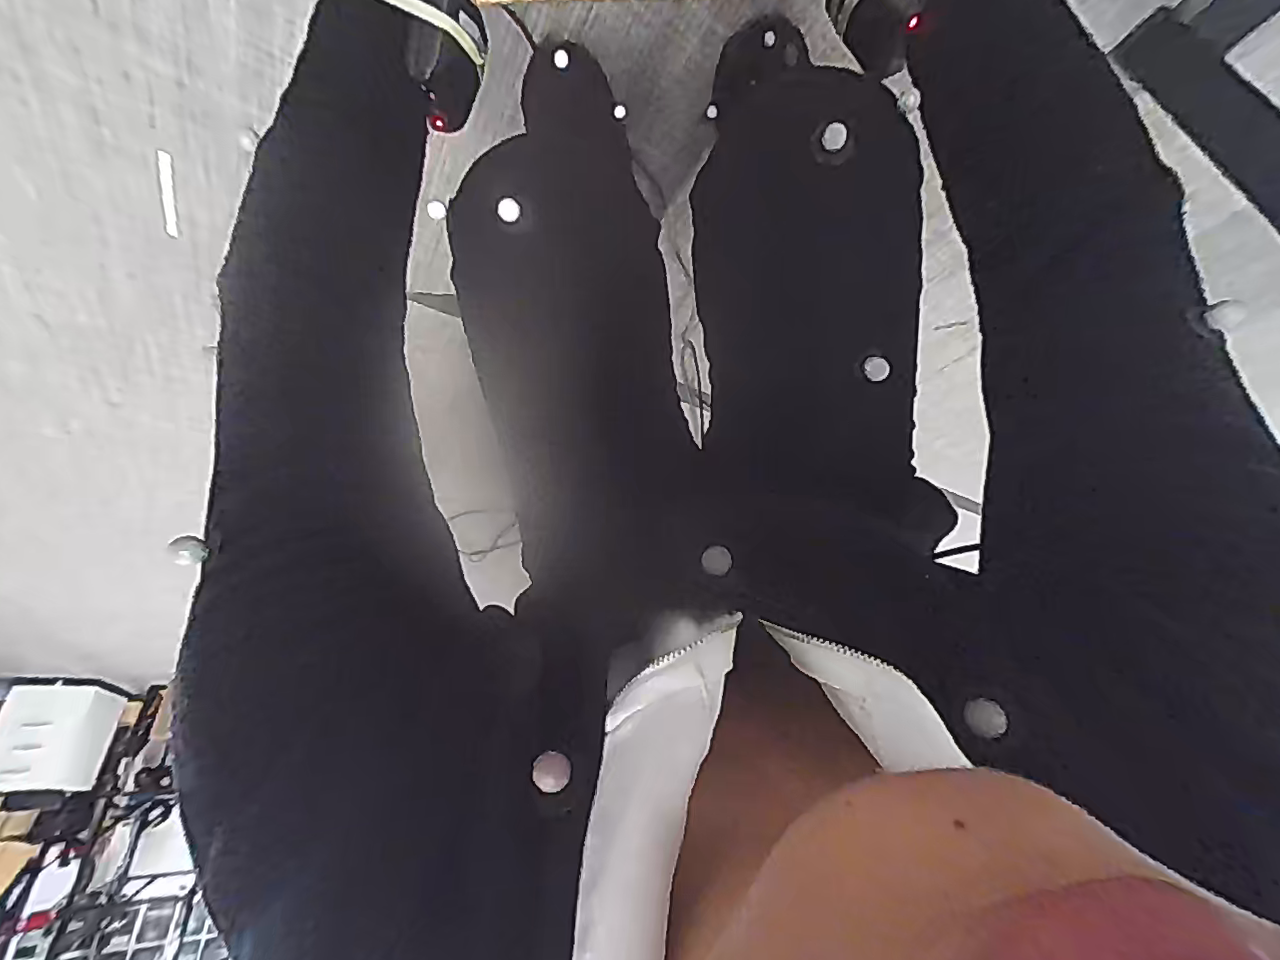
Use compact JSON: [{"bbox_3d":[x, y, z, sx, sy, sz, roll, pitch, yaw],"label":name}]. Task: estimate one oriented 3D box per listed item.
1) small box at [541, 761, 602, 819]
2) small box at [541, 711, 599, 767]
[{"bbox_3d":[-0.246,1.104,1.926,0.179,0.176,0.168,11,144,-22],"label":"small box"},{"bbox_3d":[-0.261,0.967,2.018,0.179,0.176,0.168,11,144,-21],"label":"small box"}]
